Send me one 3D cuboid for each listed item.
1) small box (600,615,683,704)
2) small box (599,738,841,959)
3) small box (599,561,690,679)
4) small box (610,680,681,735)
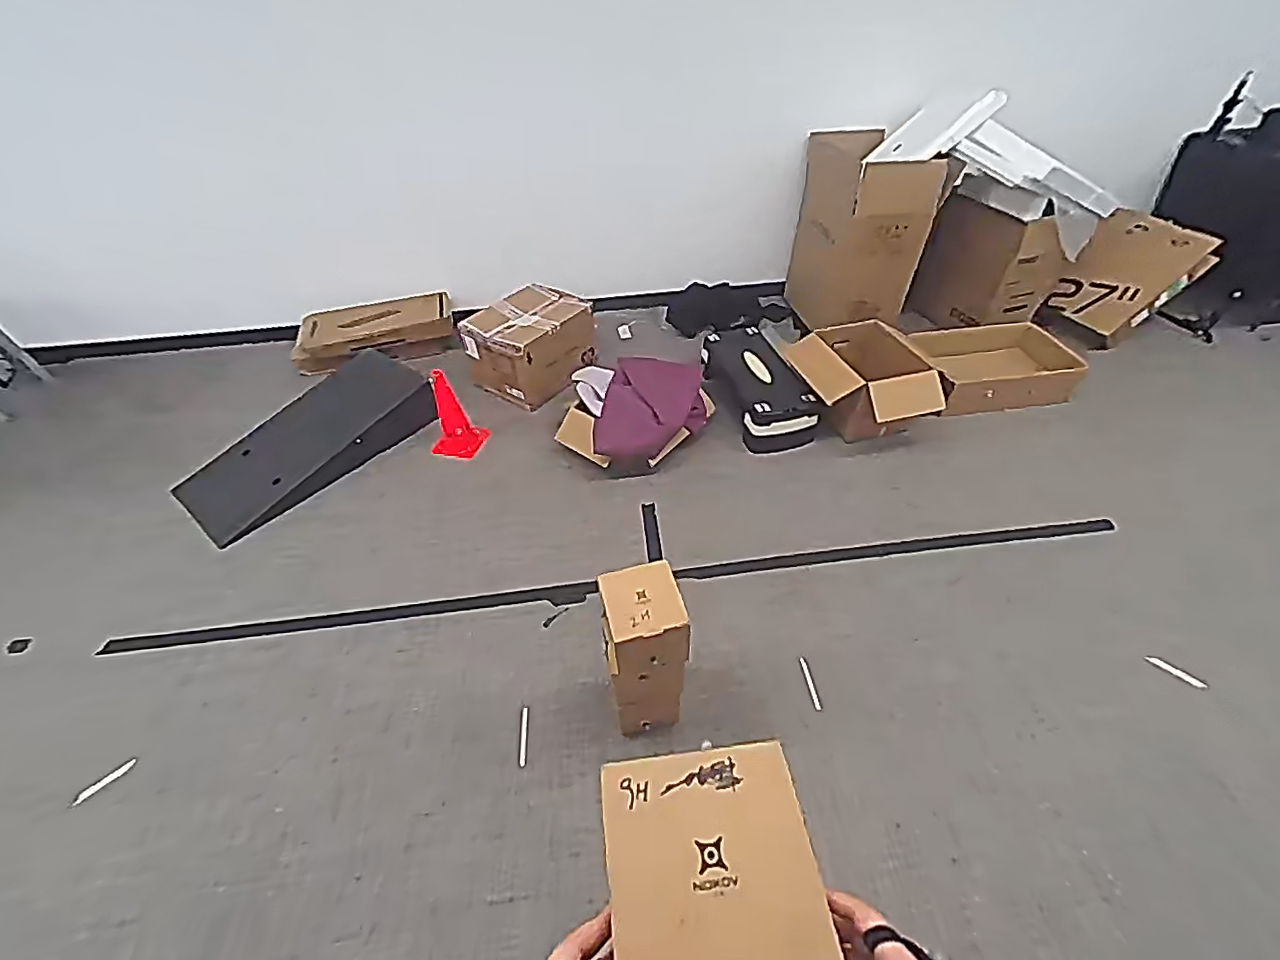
[{"bbox_3d":[0.006,0.431,1.334,0.179,0.176,0.168,-9,45,-6],"label":"small box"},{"bbox_3d":[0.056,0.356,0.481,0.168,0.176,0.179,-6,47,-5],"label":"small box"},{"bbox_3d":[0.007,0.315,1.216,0.168,0.176,0.179,-13,46,-8],"label":"small box"},{"bbox_3d":[0.008,0.550,1.447,0.168,0.176,0.179,-12,46,-7],"label":"small box"}]
